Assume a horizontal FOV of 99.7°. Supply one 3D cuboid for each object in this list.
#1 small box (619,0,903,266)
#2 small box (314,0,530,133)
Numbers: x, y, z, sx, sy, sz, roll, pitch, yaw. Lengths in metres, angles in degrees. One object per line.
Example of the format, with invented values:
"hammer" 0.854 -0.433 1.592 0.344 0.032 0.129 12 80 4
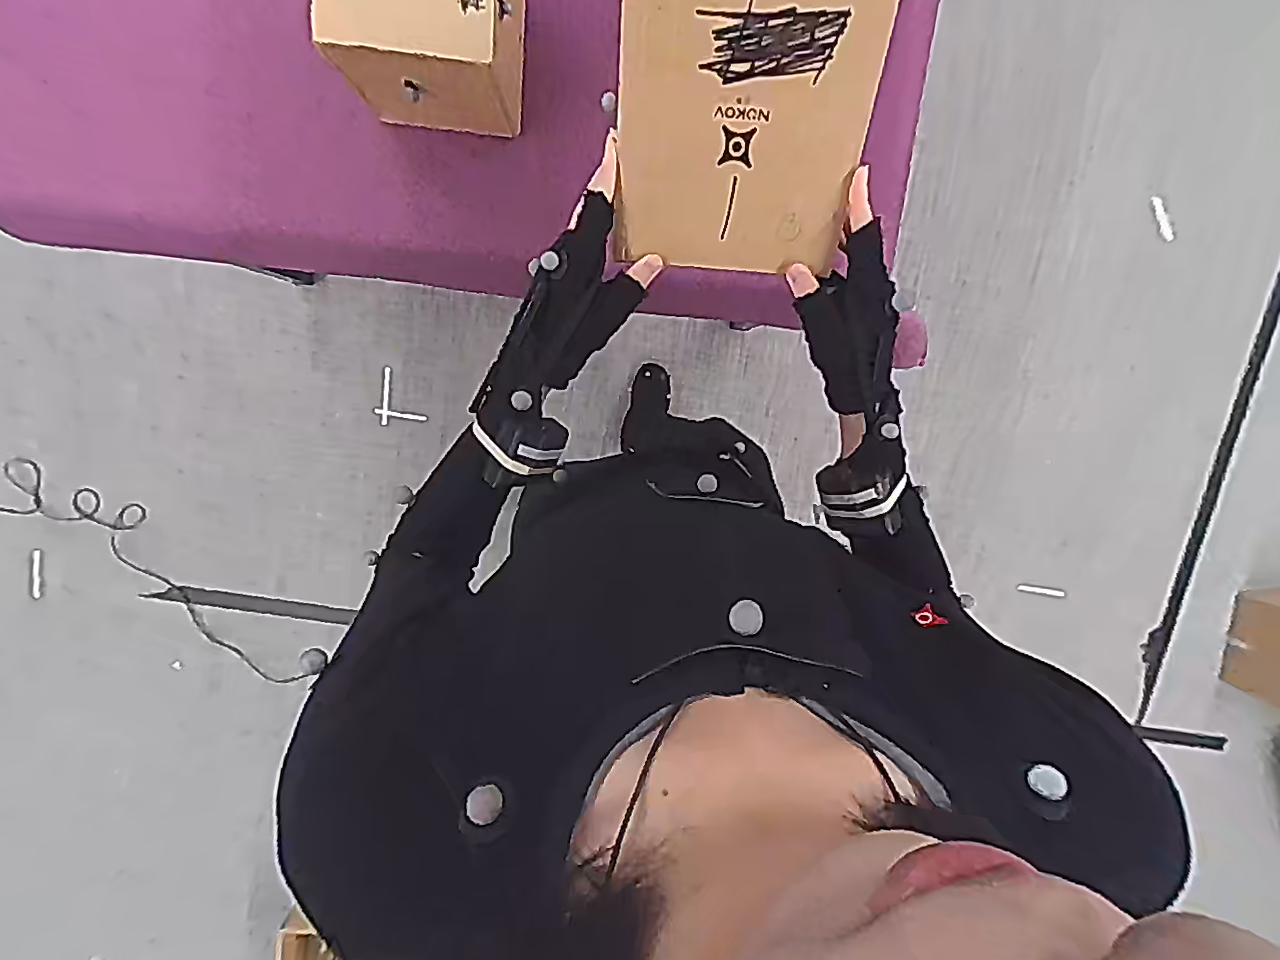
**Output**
"small box" 0.072 -0.279 0.421 0.168 0.176 0.179 4 122 -1
"small box" -0.226 -0.512 0.594 0.179 0.176 0.168 4 100 -3
